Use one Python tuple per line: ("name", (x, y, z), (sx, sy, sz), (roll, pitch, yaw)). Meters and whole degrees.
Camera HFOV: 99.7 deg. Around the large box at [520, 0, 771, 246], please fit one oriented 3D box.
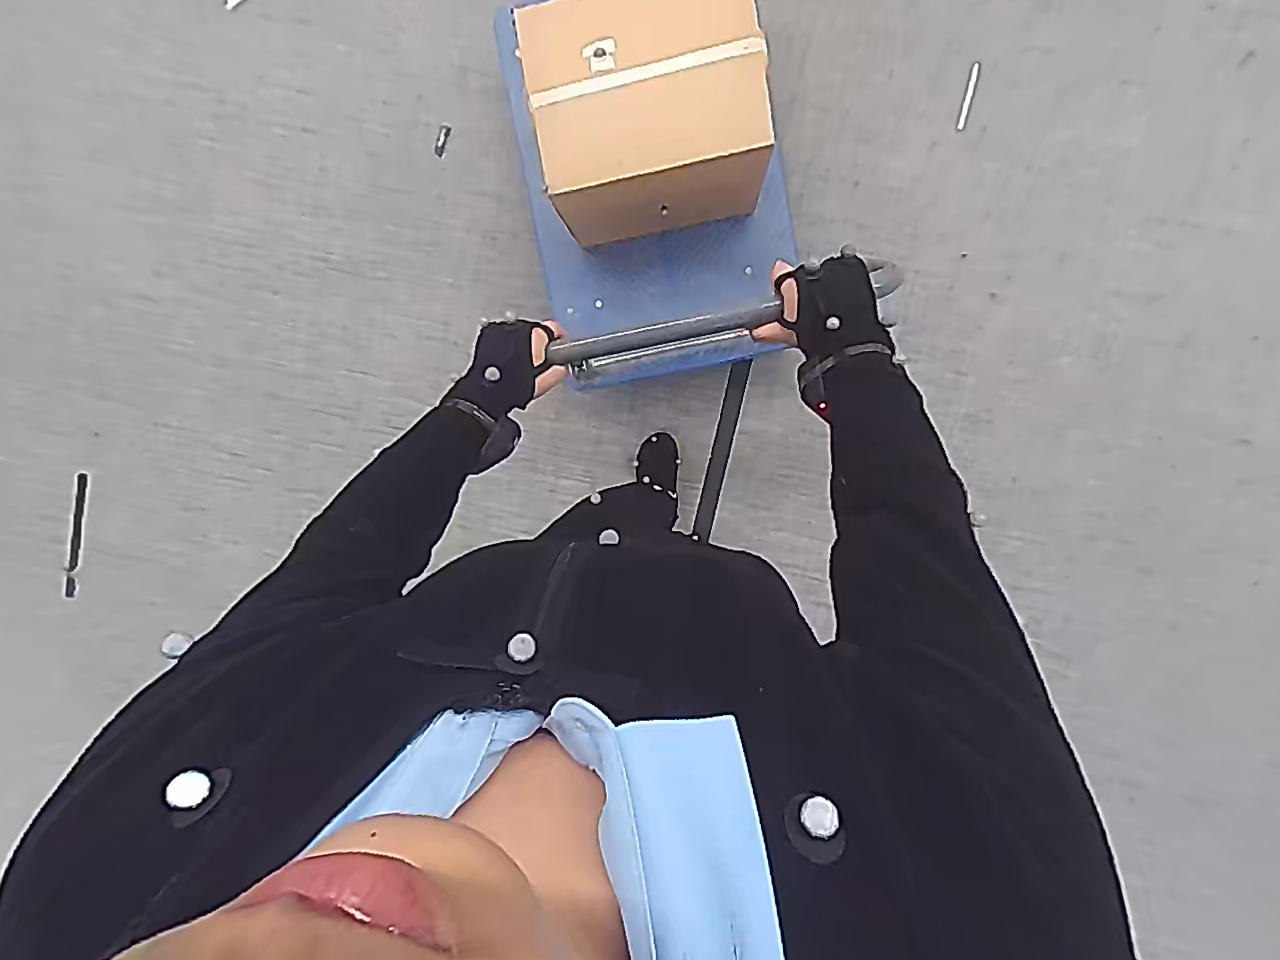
("large box", (0.024, -0.712, 1.094), (0.408, 0.320, 0.320), (-10, 95, 7))
